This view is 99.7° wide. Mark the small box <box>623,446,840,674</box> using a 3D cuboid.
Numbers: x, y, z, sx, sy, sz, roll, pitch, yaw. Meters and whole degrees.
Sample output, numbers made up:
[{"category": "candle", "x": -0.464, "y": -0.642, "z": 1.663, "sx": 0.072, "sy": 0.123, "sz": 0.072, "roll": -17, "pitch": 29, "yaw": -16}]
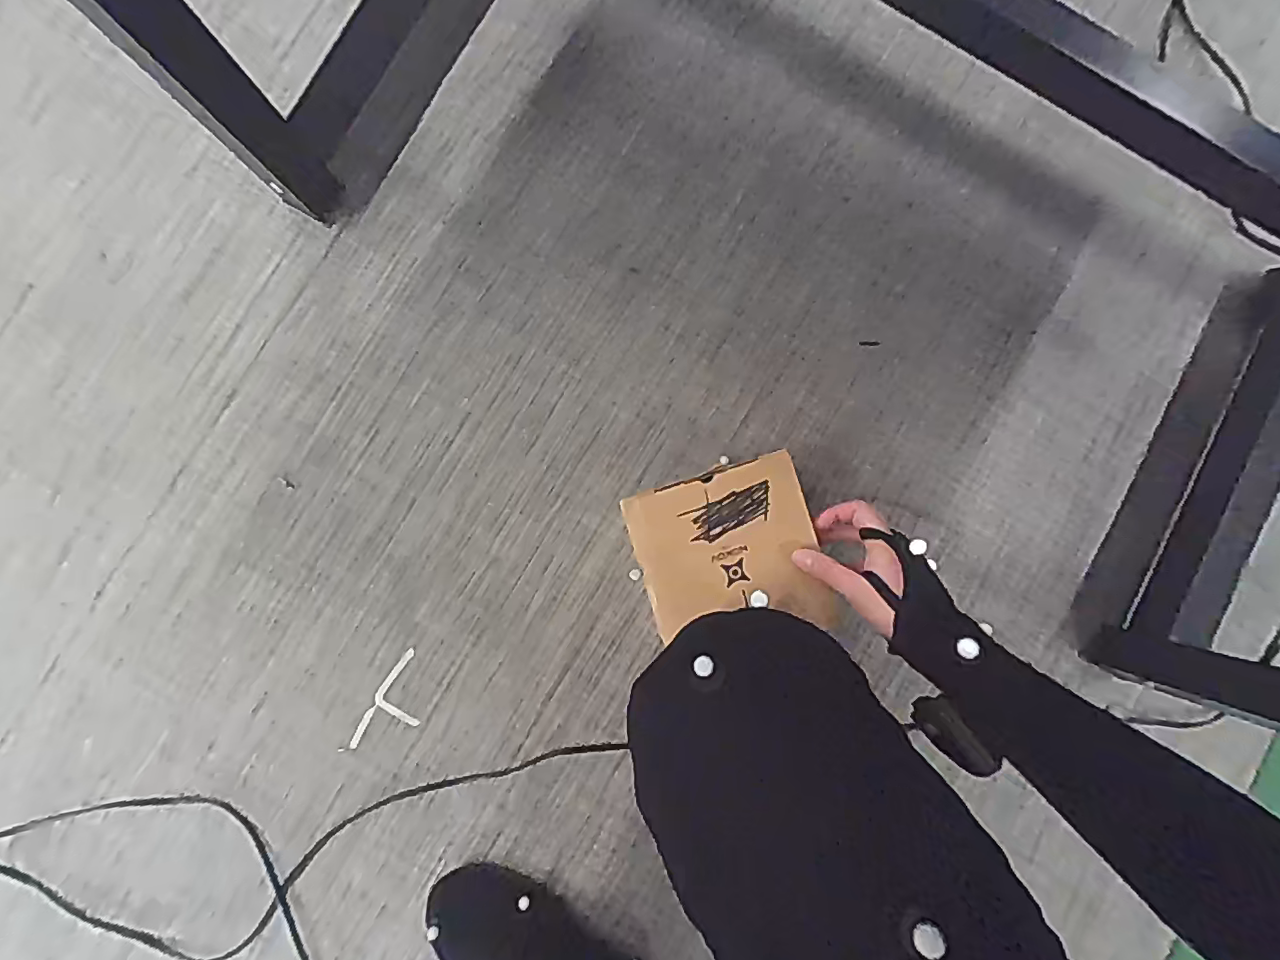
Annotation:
[{"category": "small box", "x": 0.081, "y": 0.076, "z": 0.578, "sx": 0.168, "sy": 0.176, "sz": 0.179, "roll": -17, "pitch": 90, "yaw": -3}]
